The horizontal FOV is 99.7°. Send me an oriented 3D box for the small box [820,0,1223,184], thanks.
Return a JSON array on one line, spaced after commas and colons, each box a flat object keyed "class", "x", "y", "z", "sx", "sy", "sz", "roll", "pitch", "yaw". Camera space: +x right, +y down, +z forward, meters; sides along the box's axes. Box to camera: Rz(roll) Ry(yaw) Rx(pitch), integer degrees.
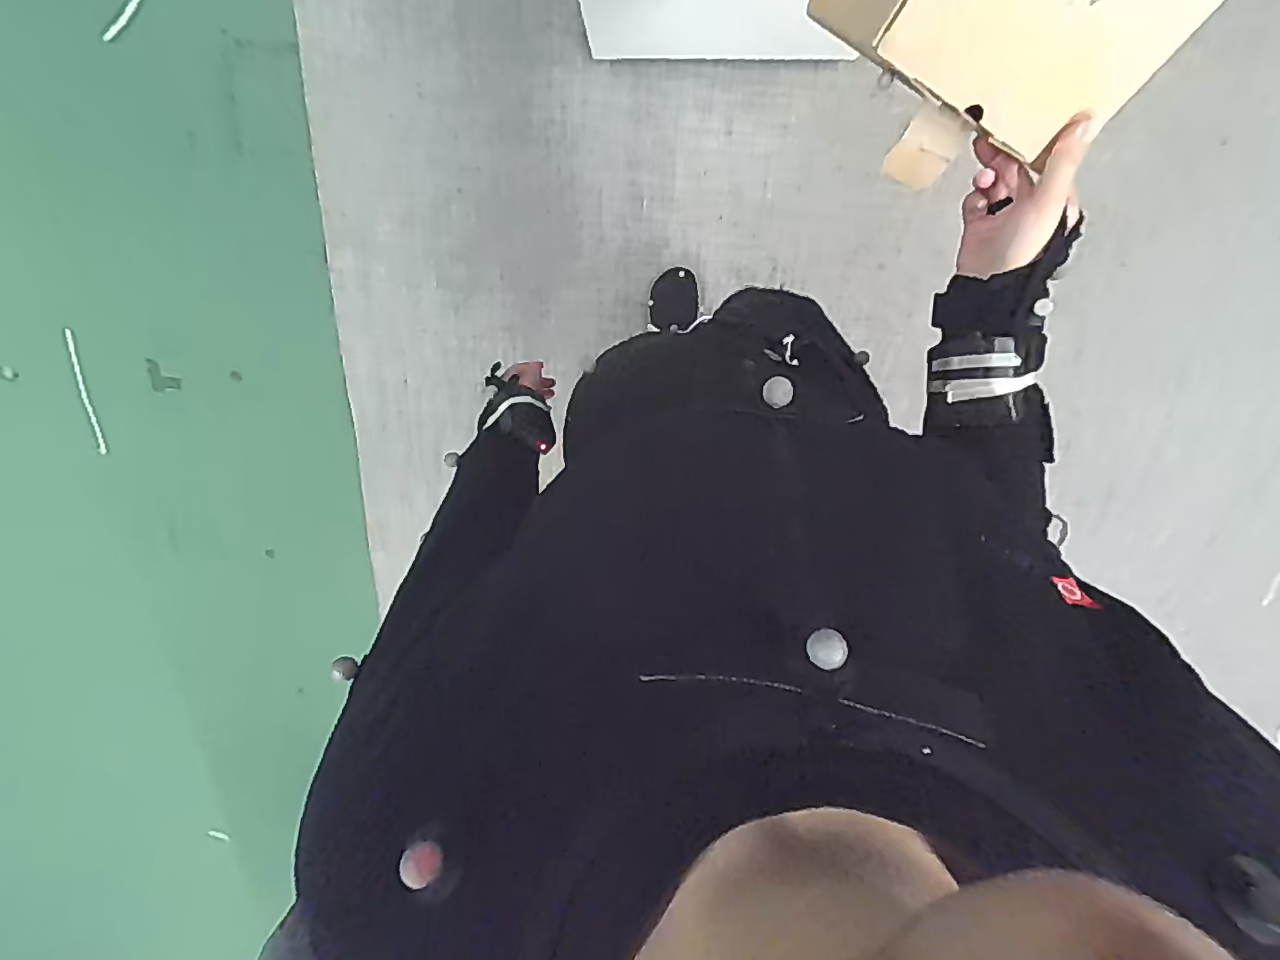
[{"class": "small box", "x": 0.244, "y": -0.340, "z": 0.347, "sx": 0.168, "sy": 0.176, "sz": 0.179, "roll": 17, "pitch": 135, "yaw": -19}]
